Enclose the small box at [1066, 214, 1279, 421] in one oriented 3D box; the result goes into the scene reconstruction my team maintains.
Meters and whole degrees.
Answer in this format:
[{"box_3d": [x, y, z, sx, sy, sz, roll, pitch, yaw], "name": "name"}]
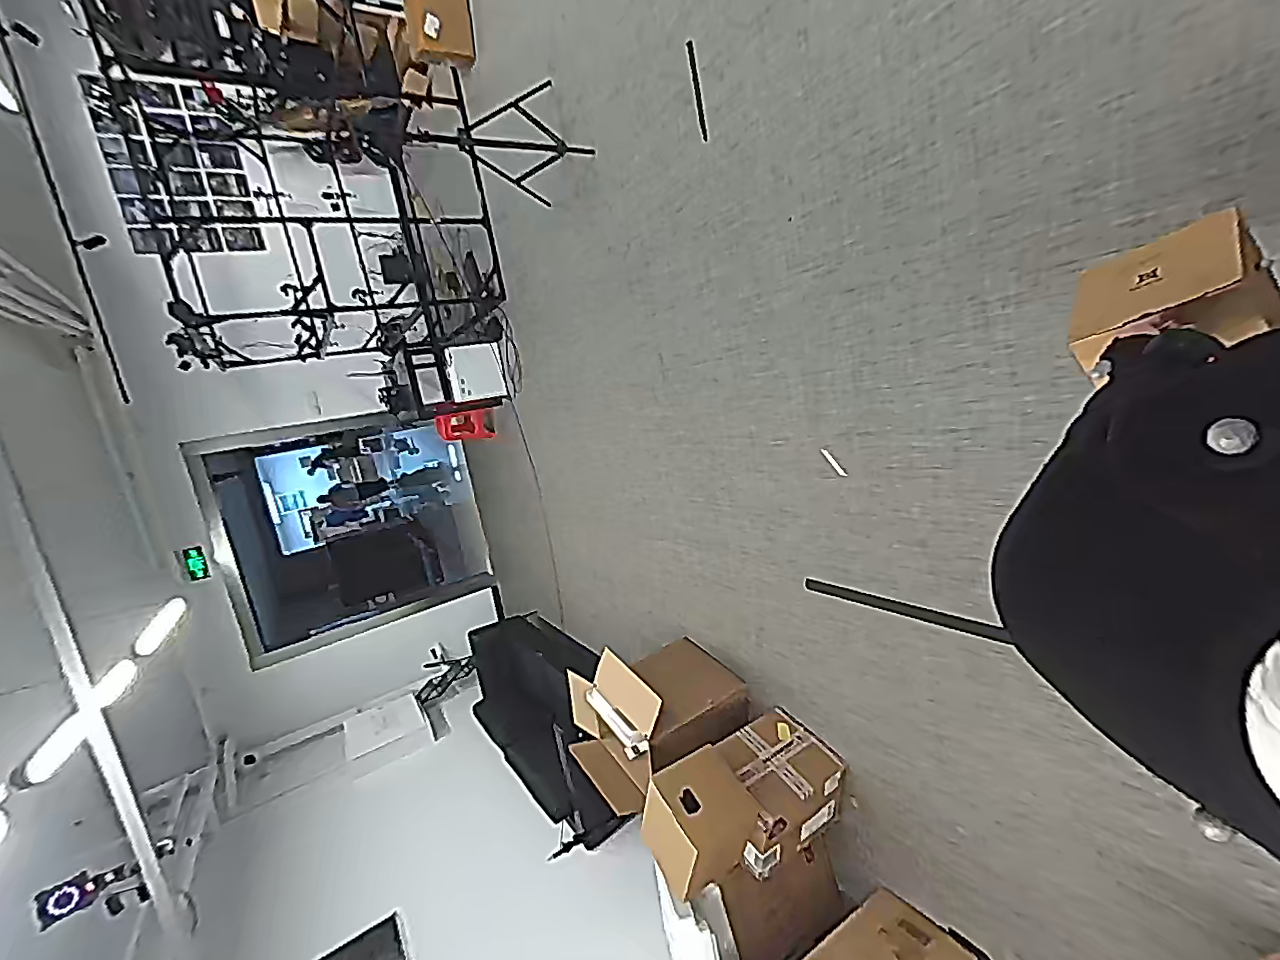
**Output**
[{"box_3d": [0.707, -0.198, 0.713, 0.176, 0.179, 0.168, 45, 150, -15], "name": "small box"}]
